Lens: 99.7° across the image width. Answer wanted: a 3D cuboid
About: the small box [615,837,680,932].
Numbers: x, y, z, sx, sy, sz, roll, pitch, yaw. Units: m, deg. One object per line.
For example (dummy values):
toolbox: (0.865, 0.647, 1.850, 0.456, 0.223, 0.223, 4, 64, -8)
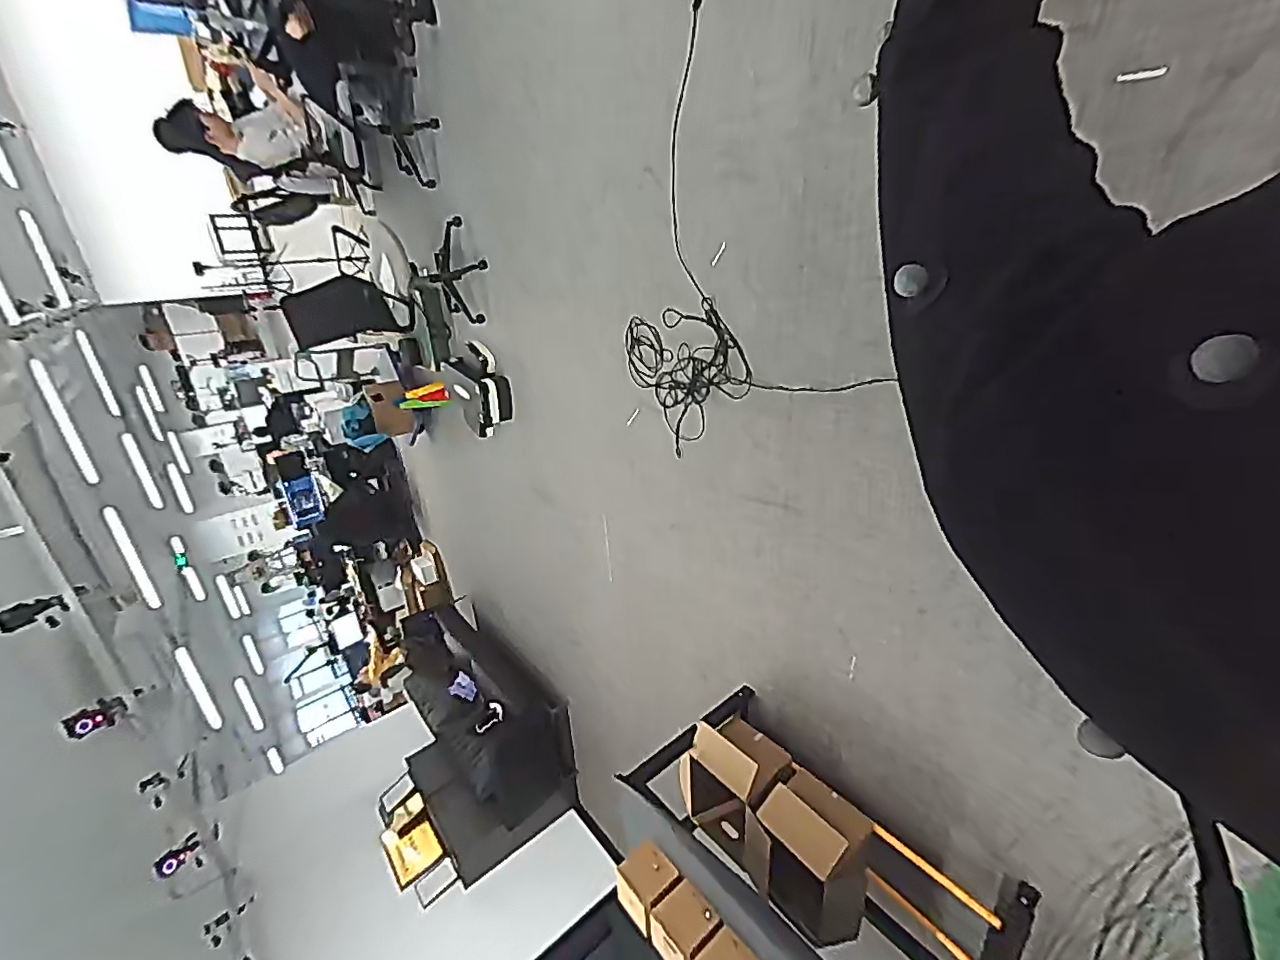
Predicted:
small box: (0.030, 1.451, 1.947, 0.168, 0.176, 0.179, 24, 125, 46)
